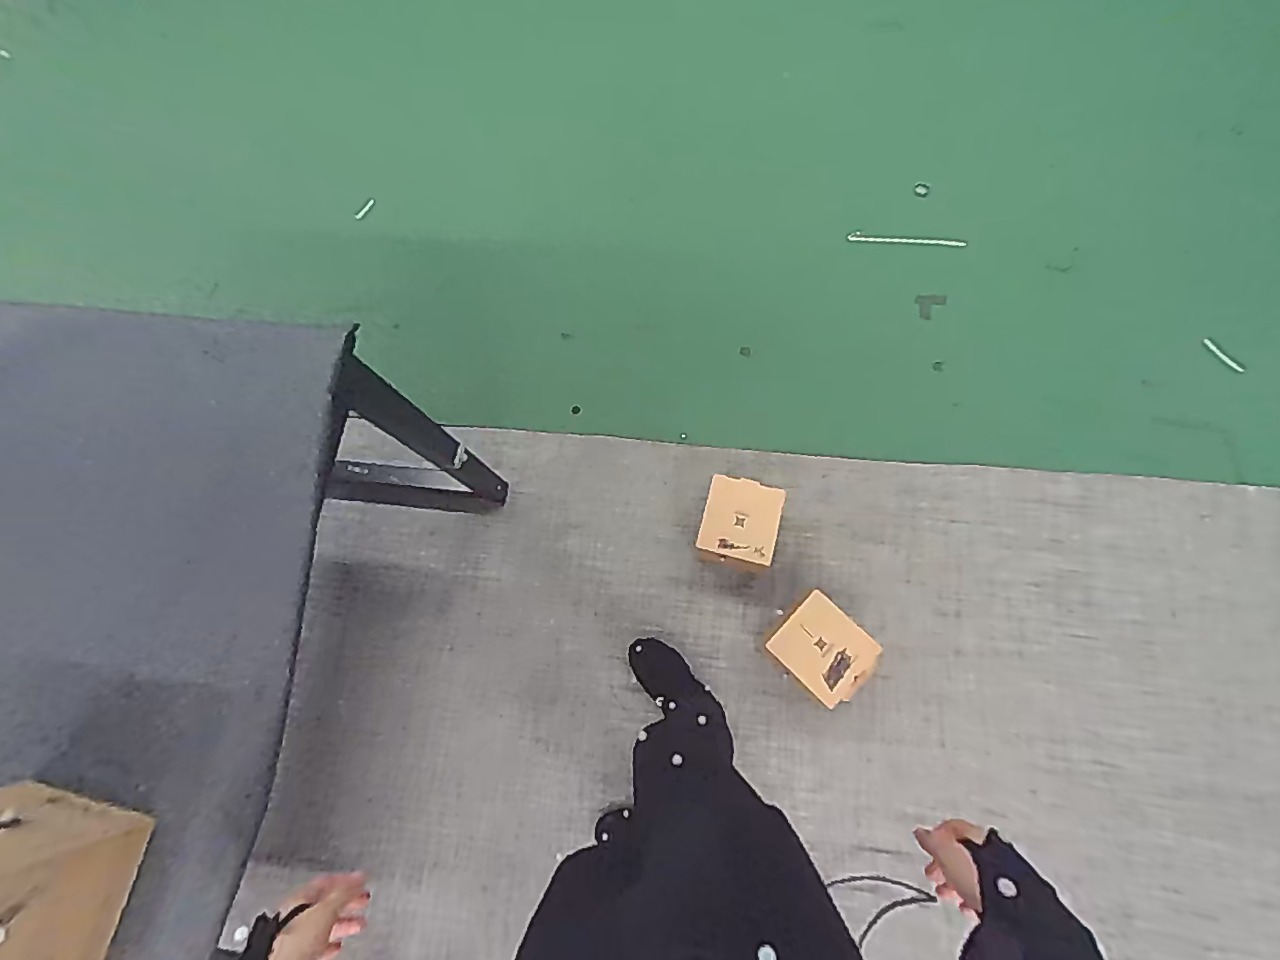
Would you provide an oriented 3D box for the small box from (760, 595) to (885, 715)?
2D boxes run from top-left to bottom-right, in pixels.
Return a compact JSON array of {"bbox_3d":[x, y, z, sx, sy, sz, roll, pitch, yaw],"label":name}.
[{"bbox_3d":[0.383,0.370,1.168,0.168,0.176,0.179,-44,75,-8],"label":"small box"}]

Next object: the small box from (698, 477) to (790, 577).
[{"bbox_3d":[0.233,0.114,1.250,0.168,0.176,0.179,15,76,7],"label":"small box"}]

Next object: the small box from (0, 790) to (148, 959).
[{"bbox_3d":[-0.595,0.399,0.470,0.168,0.176,0.179,10,76,9],"label":"small box"}]
